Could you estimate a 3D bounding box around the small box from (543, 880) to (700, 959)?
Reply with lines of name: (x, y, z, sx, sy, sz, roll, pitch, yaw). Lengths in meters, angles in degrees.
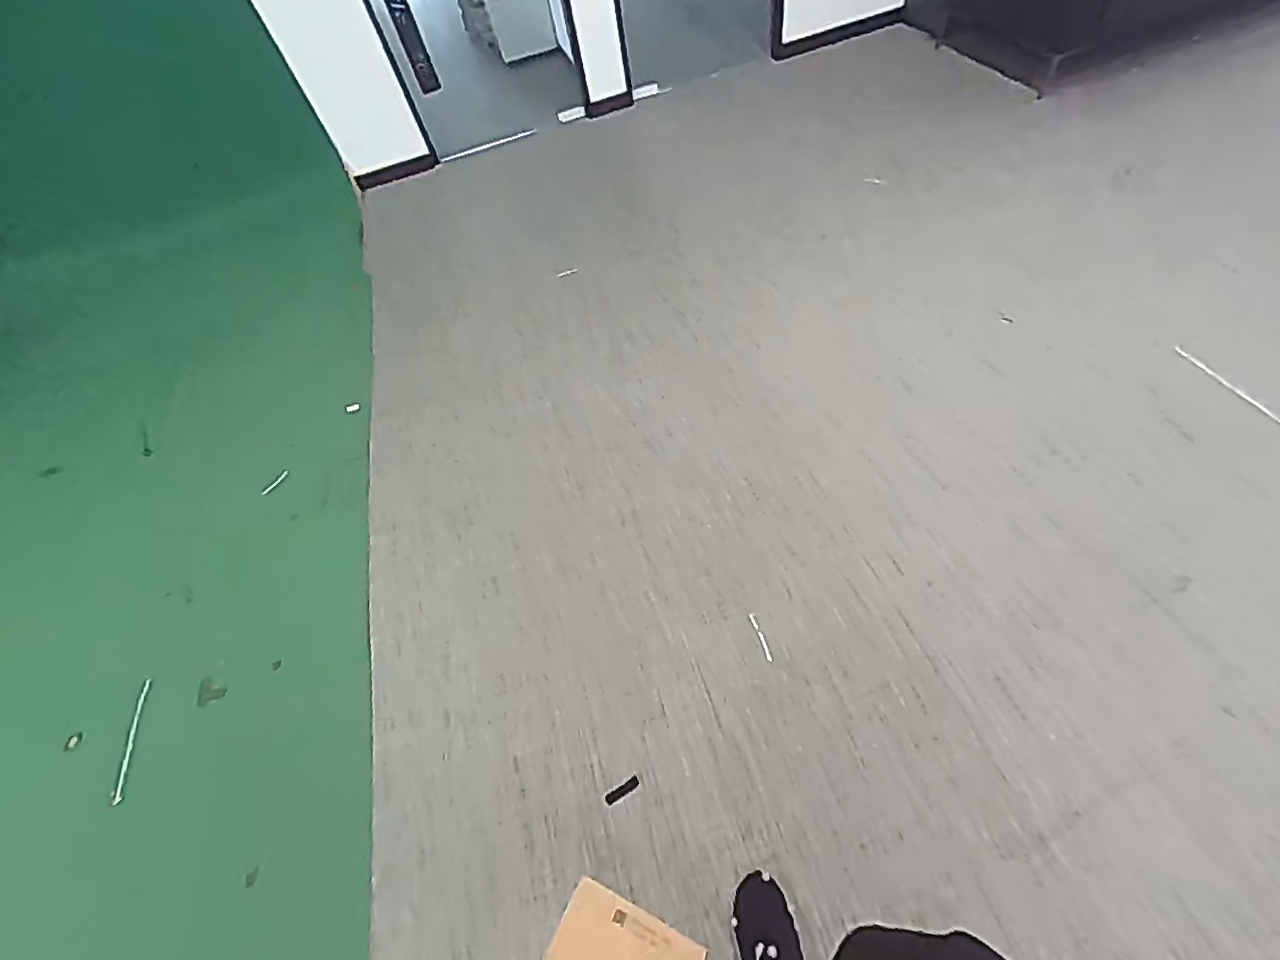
small box: (-0.042, 0.609, 0.615, 0.168, 0.179, 0.176, 20, 32, 15)
